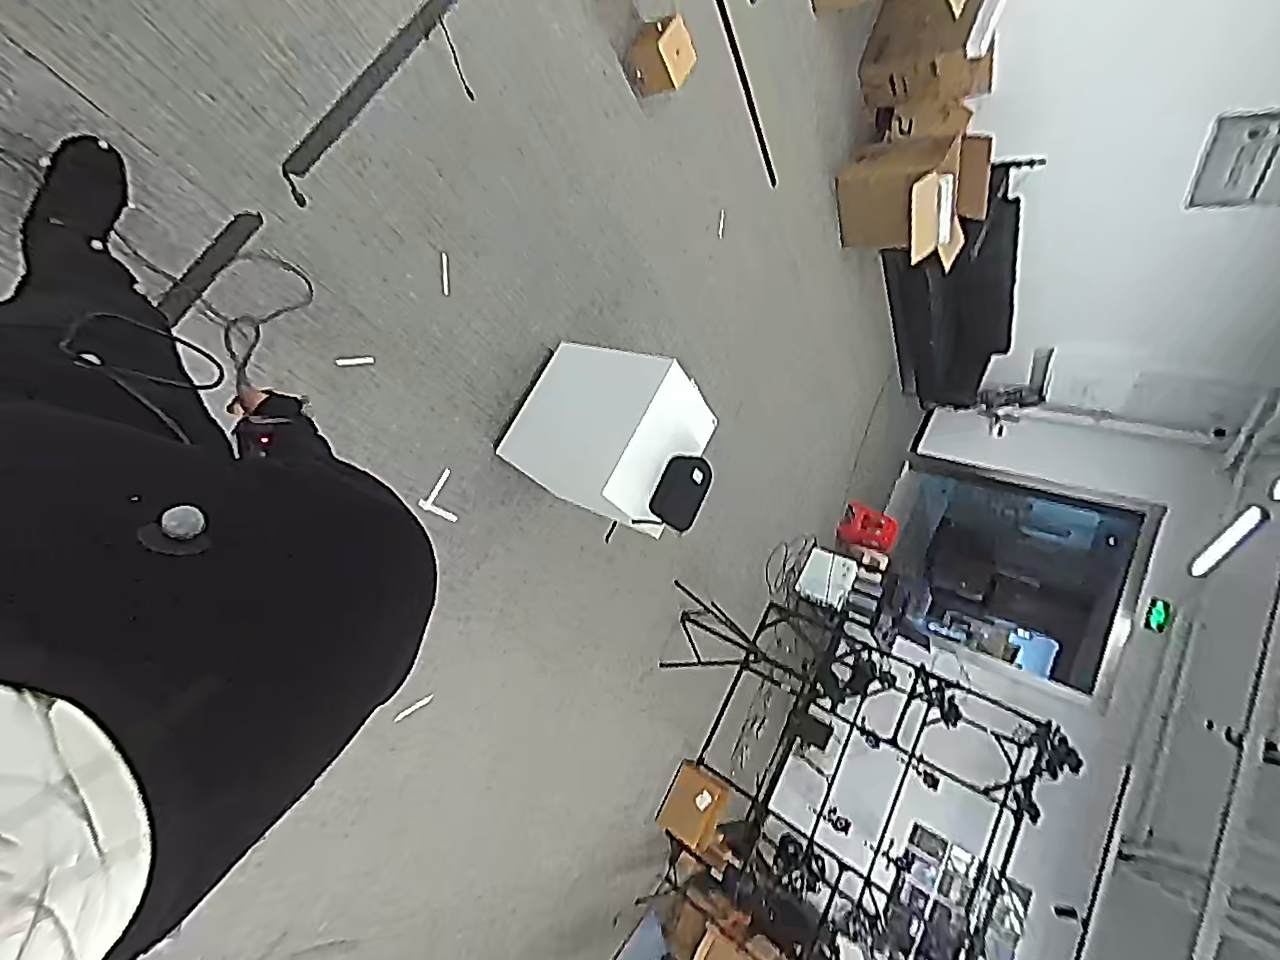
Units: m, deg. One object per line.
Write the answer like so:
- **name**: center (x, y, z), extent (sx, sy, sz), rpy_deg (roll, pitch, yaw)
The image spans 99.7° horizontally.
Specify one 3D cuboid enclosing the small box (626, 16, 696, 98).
- **small box**: center (0.077, -1.587, 2.038), extent (0.168, 0.176, 0.179), rpy_deg (42, 73, -50)
